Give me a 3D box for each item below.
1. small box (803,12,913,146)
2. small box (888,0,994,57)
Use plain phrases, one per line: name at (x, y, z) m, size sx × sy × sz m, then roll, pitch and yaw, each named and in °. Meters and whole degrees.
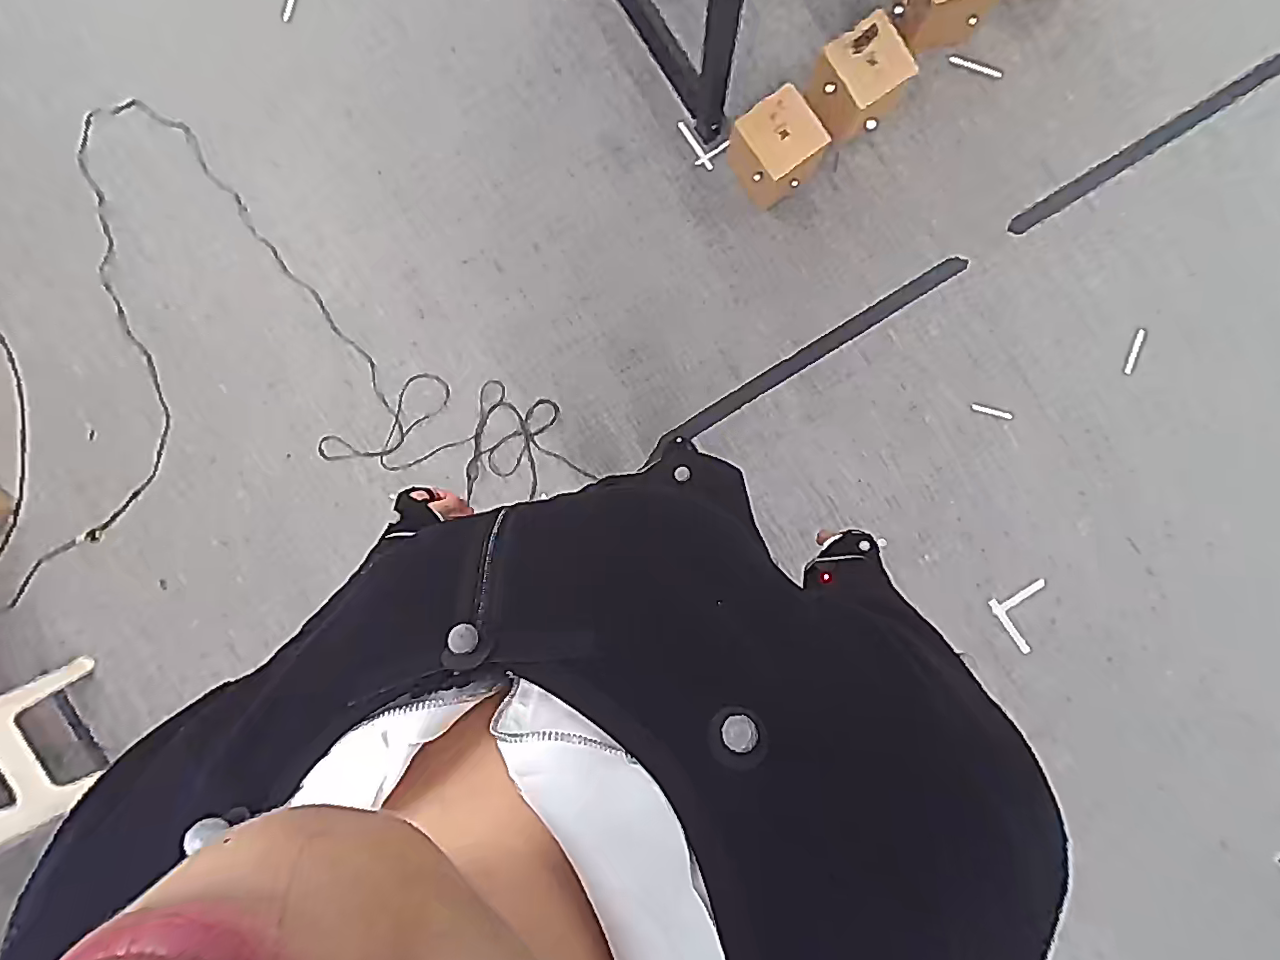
small box at (0.537, -0.998, 1.363) m, size 0.168 × 0.176 × 0.179 m, roll -34°, pitch 92°, yaw 3°
small box at (0.749, -1.211, 1.347) m, size 0.179 × 0.176 × 0.168 m, roll -12°, pitch 91°, yaw 4°
